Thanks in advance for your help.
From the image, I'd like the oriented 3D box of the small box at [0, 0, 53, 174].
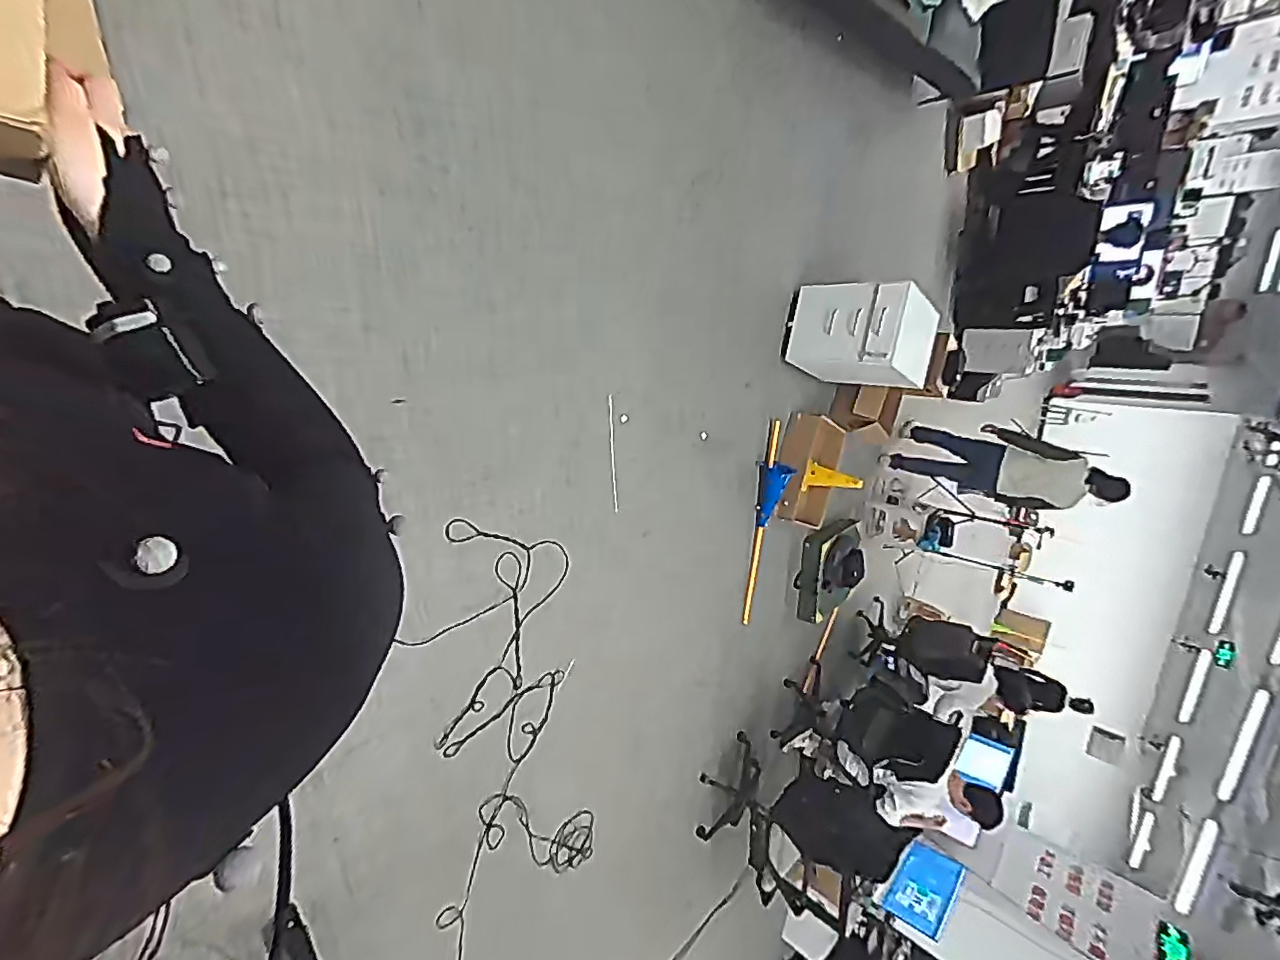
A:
[{"bbox_3d":[-0.419,-0.287,0.270,0.168,0.176,0.179,-1,101,-49],"label":"small box"}]
